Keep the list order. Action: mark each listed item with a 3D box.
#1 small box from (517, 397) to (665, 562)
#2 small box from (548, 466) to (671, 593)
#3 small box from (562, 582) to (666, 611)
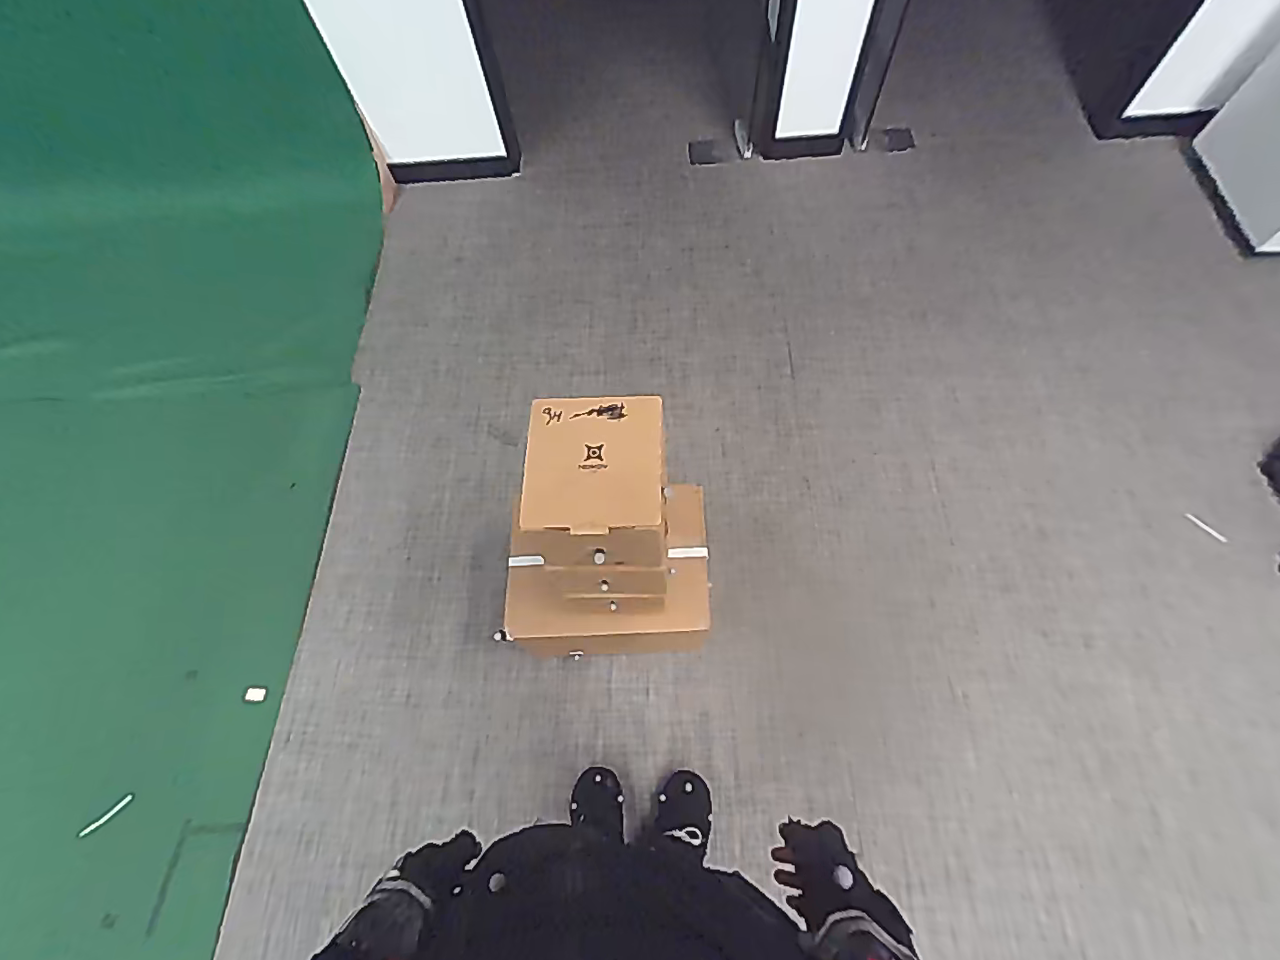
[{"bbox_3d":[-0.052,0.008,0.719,0.168,0.176,0.179,0,67,5],"label":"small box"},{"bbox_3d":[-0.042,0.083,0.865,0.179,0.176,0.168,-2,67,2],"label":"small box"},{"bbox_3d":[-0.040,0.150,1.015,0.179,0.176,0.168,-1,67,2],"label":"small box"}]
